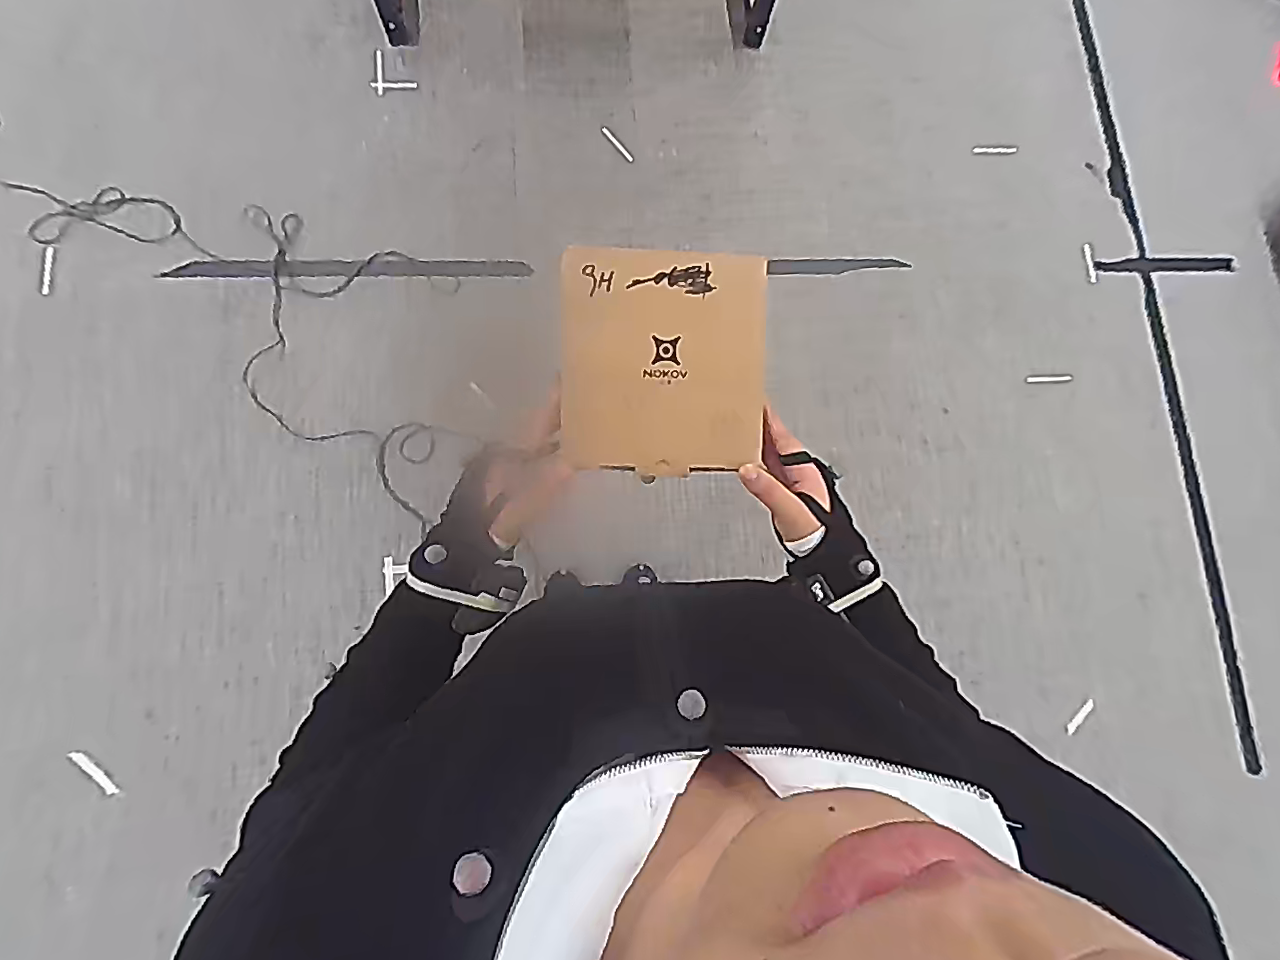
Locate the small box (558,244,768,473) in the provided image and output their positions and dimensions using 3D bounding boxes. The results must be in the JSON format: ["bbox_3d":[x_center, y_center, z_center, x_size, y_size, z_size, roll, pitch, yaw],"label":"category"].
[{"bbox_3d":[0.012,-0.100,0.508,0.168,0.176,0.179,1,94,-6],"label":"small box"}]
